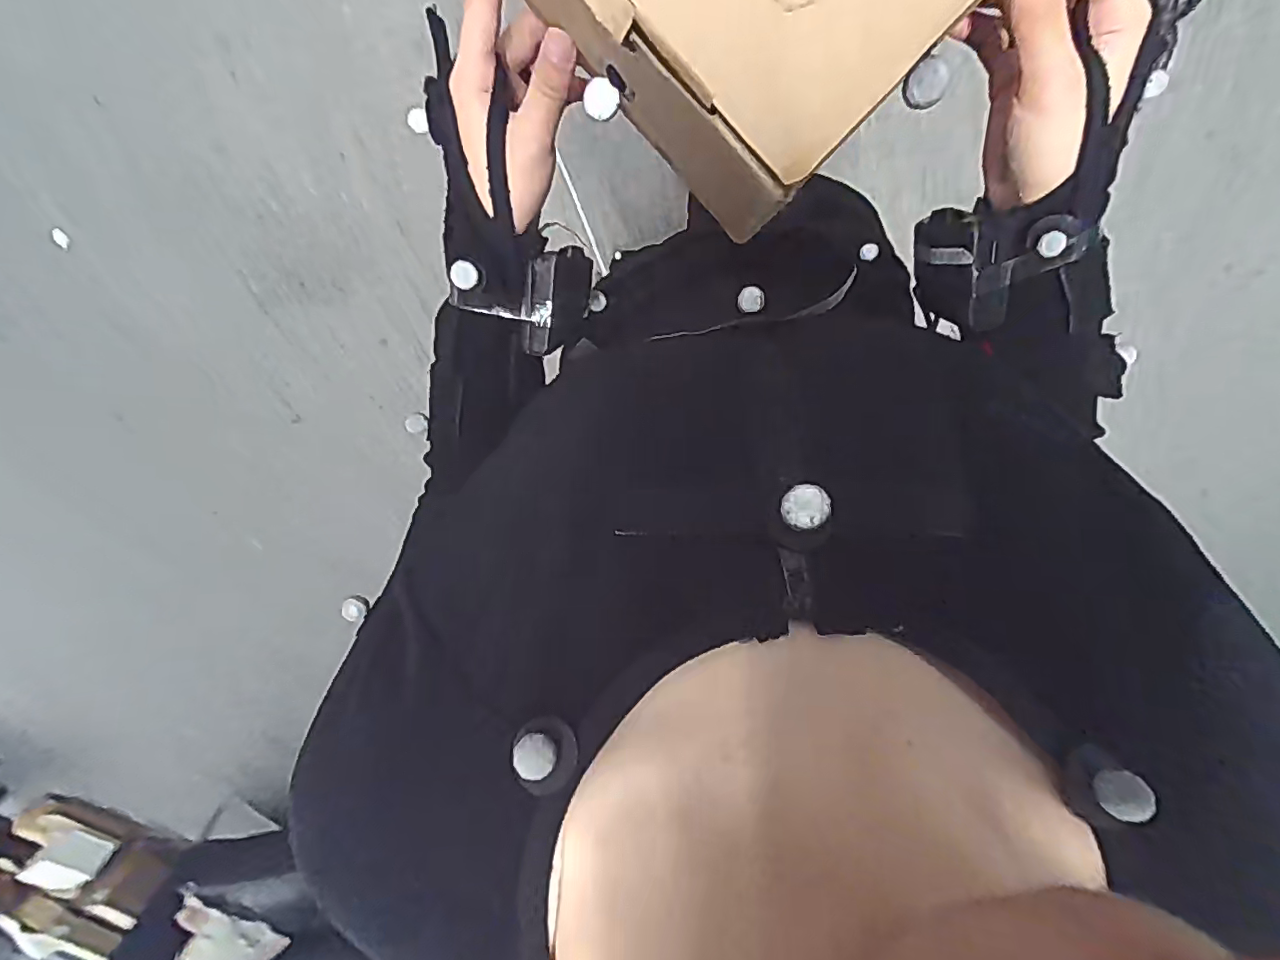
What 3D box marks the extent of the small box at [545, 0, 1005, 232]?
[{"bbox_3d":[0.054,-0.214,0.187,0.179,0.176,0.168,-42,100,18],"label":"small box"}]
